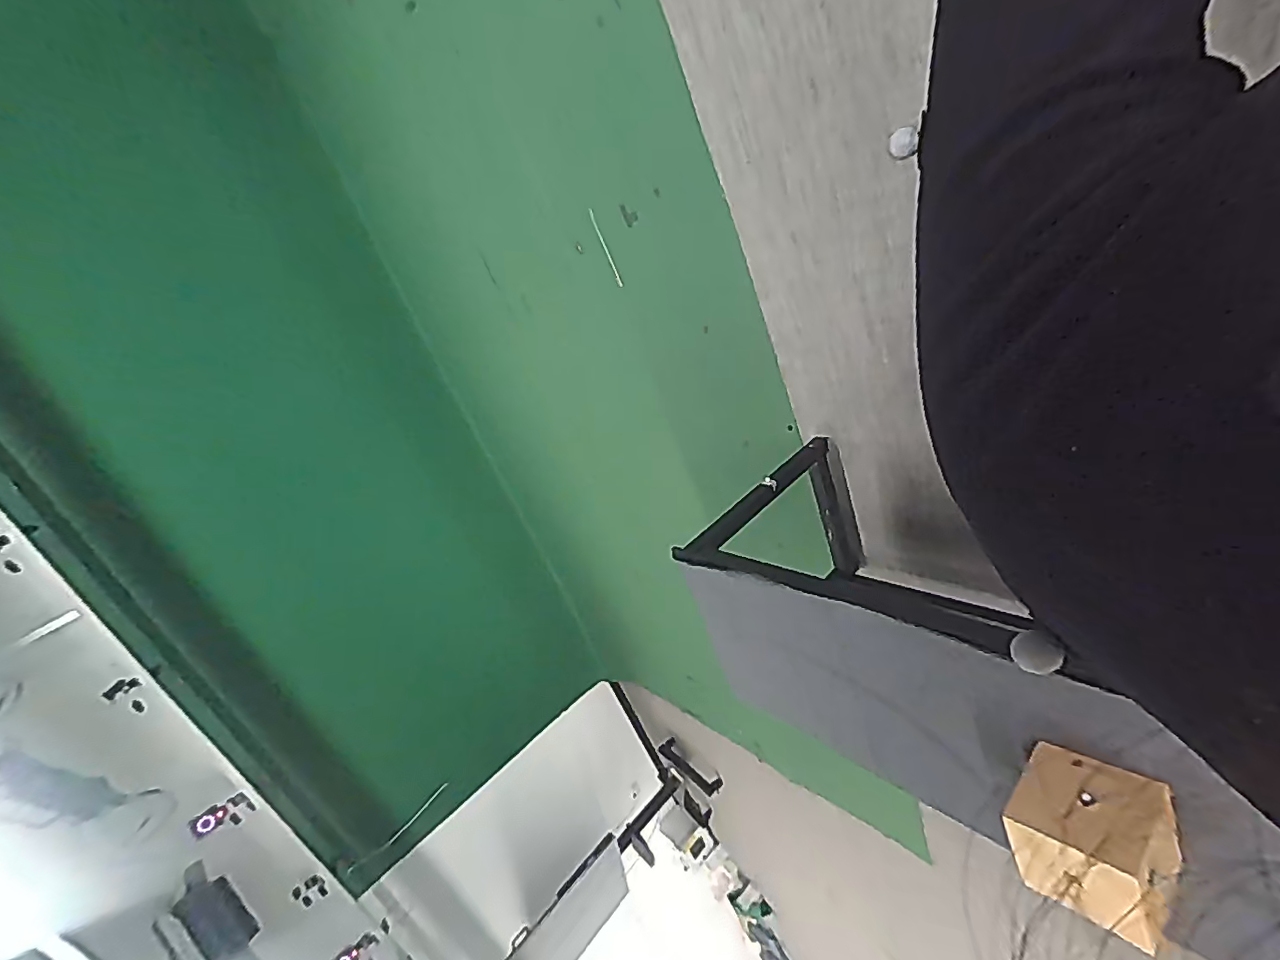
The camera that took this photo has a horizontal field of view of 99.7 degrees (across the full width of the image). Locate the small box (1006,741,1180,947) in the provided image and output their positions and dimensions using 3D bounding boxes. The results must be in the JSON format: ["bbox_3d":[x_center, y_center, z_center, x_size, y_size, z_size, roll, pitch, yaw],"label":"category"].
[{"bbox_3d":[0.719,0.558,0.858,0.168,0.176,0.179,1,122,56],"label":"small box"}]
